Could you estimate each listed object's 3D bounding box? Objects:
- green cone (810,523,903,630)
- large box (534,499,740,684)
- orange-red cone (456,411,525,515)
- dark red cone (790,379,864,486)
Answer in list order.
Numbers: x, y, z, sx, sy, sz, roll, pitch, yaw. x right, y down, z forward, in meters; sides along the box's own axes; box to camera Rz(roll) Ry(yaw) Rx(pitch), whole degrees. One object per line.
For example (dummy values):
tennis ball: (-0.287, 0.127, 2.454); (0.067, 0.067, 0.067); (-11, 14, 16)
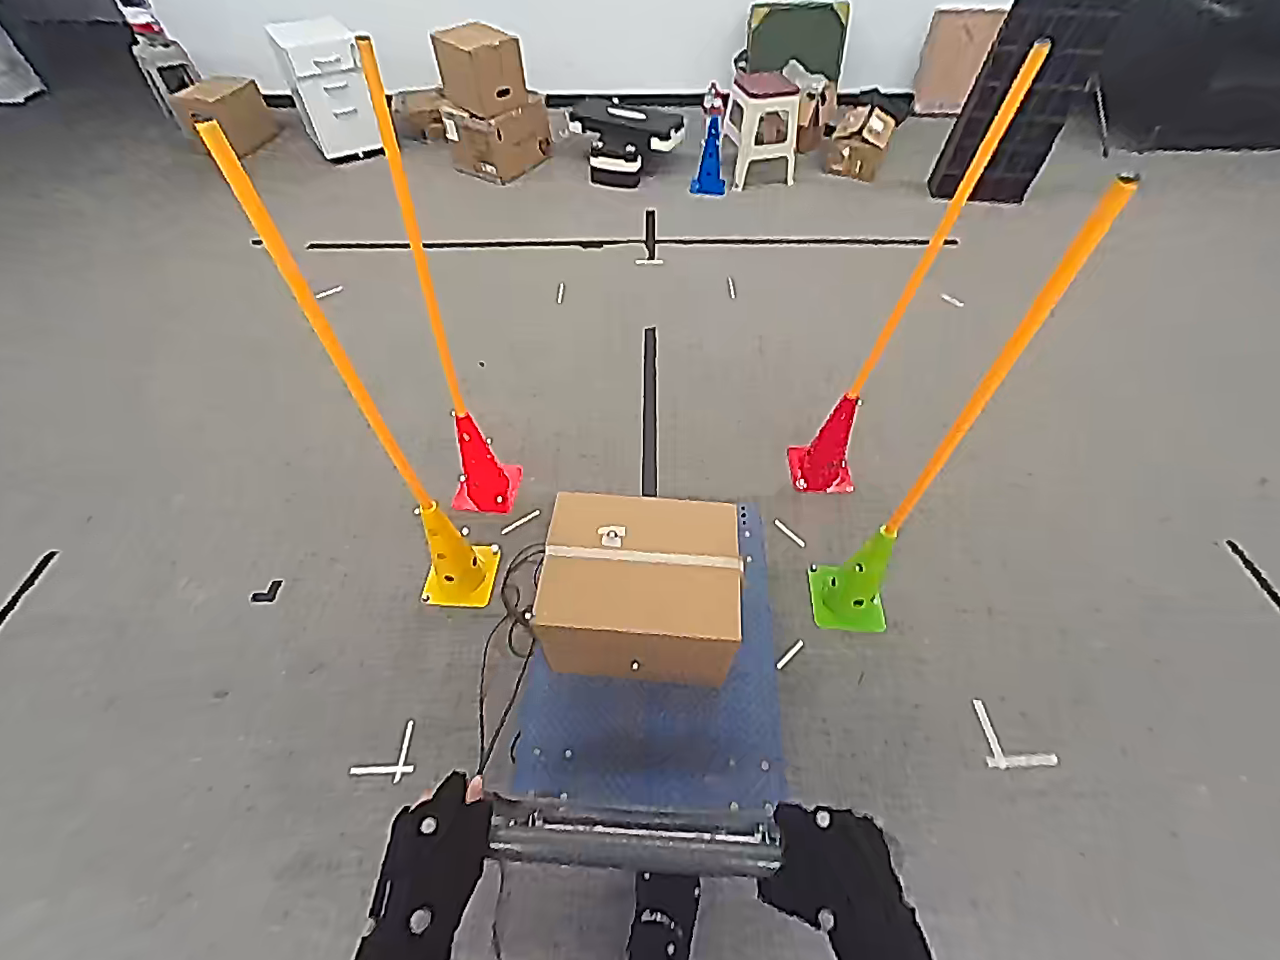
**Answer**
green cone: (0.607, 0.232, 1.442); (0.202, 0.368, 0.200); (4, 52, 2)
large box: (0.008, 0.261, 1.239); (0.408, 0.320, 0.320); (3, 53, 4)
orange-red cone: (-0.501, -0.079, 1.697); (0.198, 0.360, 0.199); (7, 51, 4)
dark red cone: (0.629, -0.160, 1.727); (0.201, 0.394, 0.202); (1, 52, -1)
